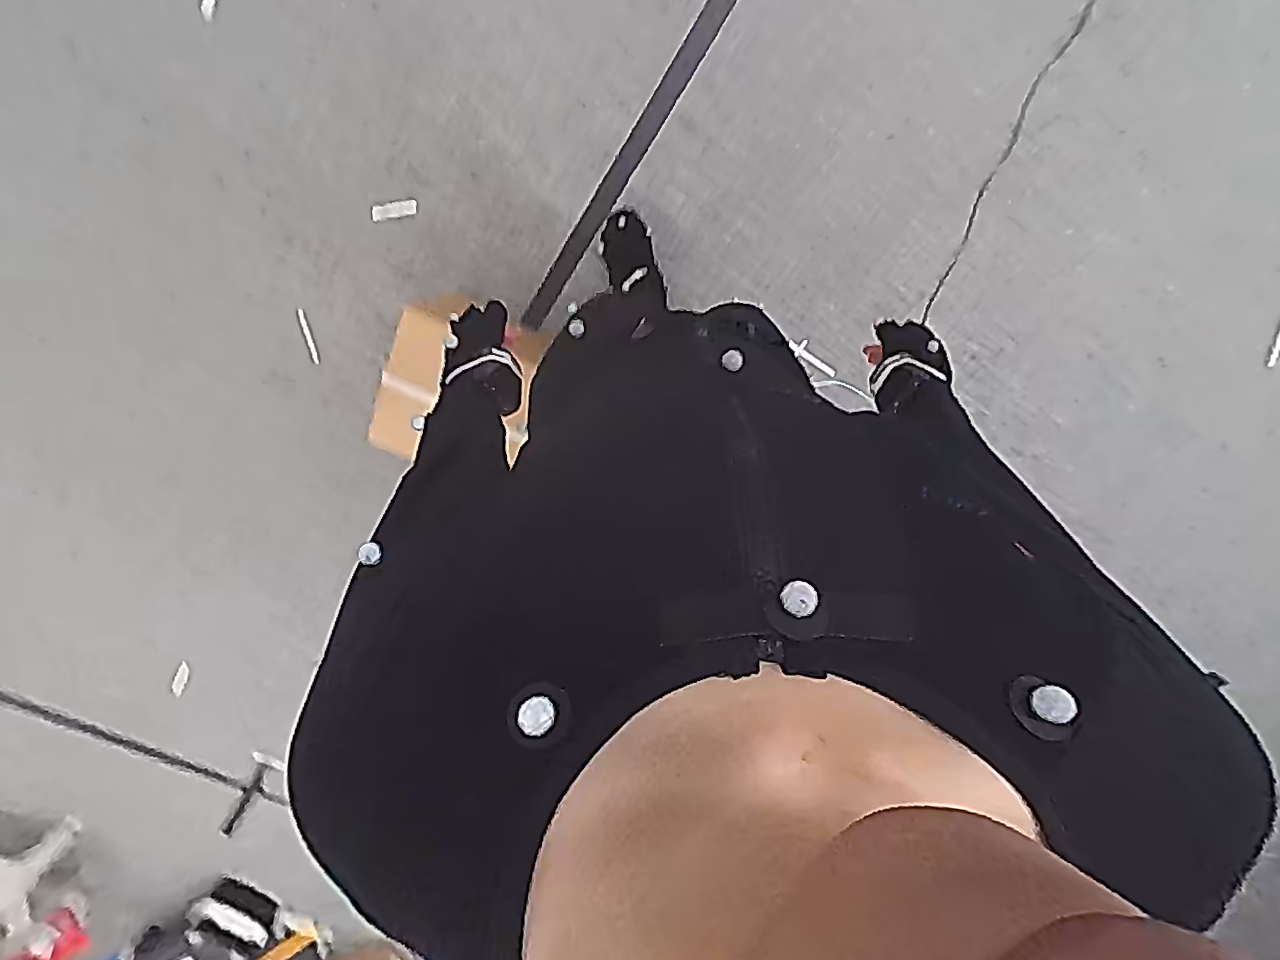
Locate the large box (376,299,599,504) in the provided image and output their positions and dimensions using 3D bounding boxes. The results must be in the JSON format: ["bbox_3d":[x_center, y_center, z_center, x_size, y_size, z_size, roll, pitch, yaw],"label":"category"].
[{"bbox_3d":[-0.344,-0.201,1.300,0.408,0.320,0.320,23,112,-11],"label":"large box"}]
